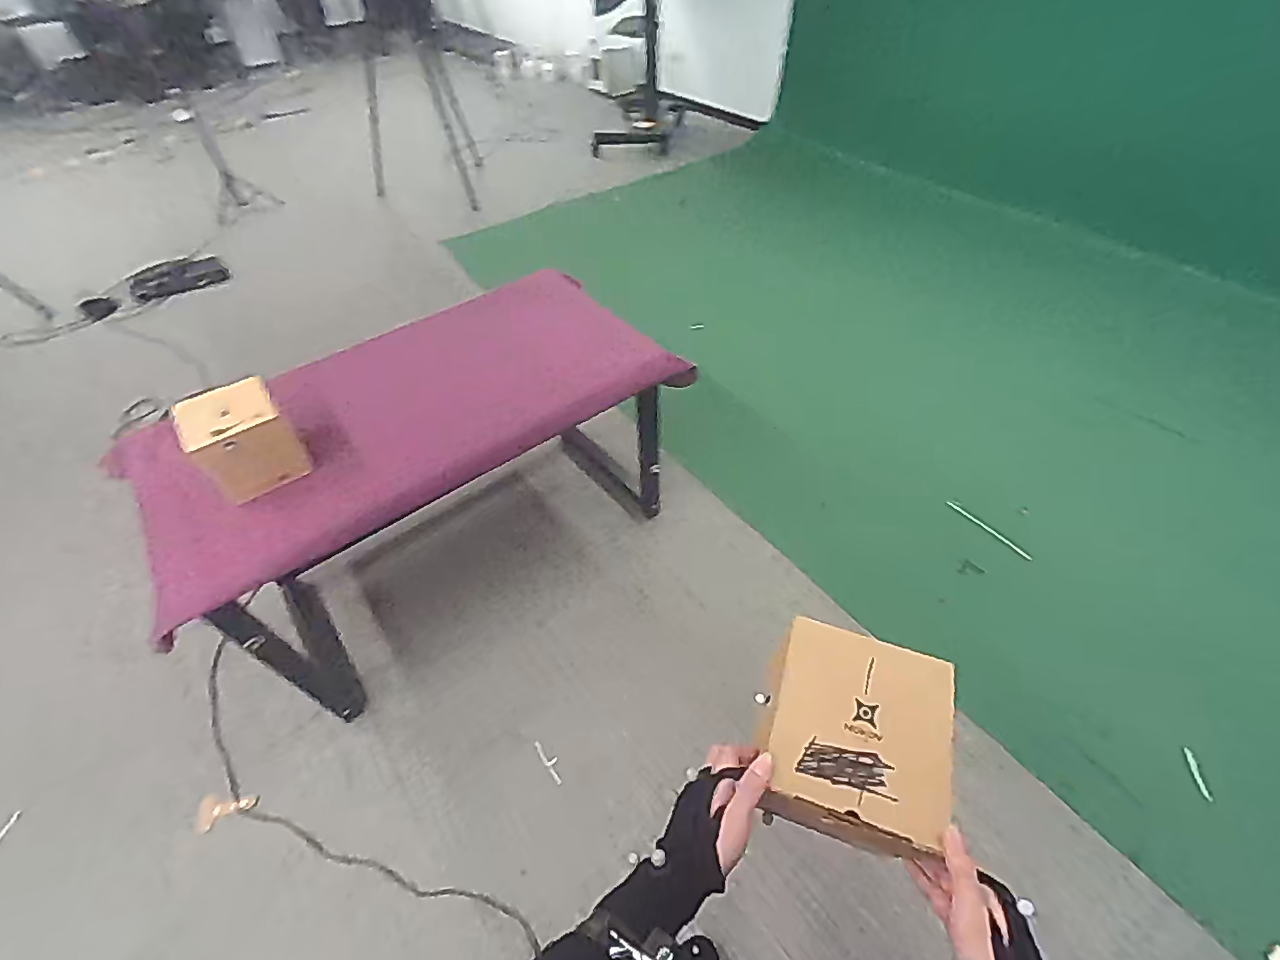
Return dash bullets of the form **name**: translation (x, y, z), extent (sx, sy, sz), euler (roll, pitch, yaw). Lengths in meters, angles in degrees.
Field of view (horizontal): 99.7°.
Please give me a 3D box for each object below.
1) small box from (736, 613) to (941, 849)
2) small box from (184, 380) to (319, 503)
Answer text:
- **small box**: translation (0.207, 0.278, 0.592), extent (0.168, 0.176, 0.179), euler (15, 56, 11)
- **small box**: translation (-0.836, -0.082, 1.172), extent (0.168, 0.176, 0.179), euler (-30, 54, -23)
